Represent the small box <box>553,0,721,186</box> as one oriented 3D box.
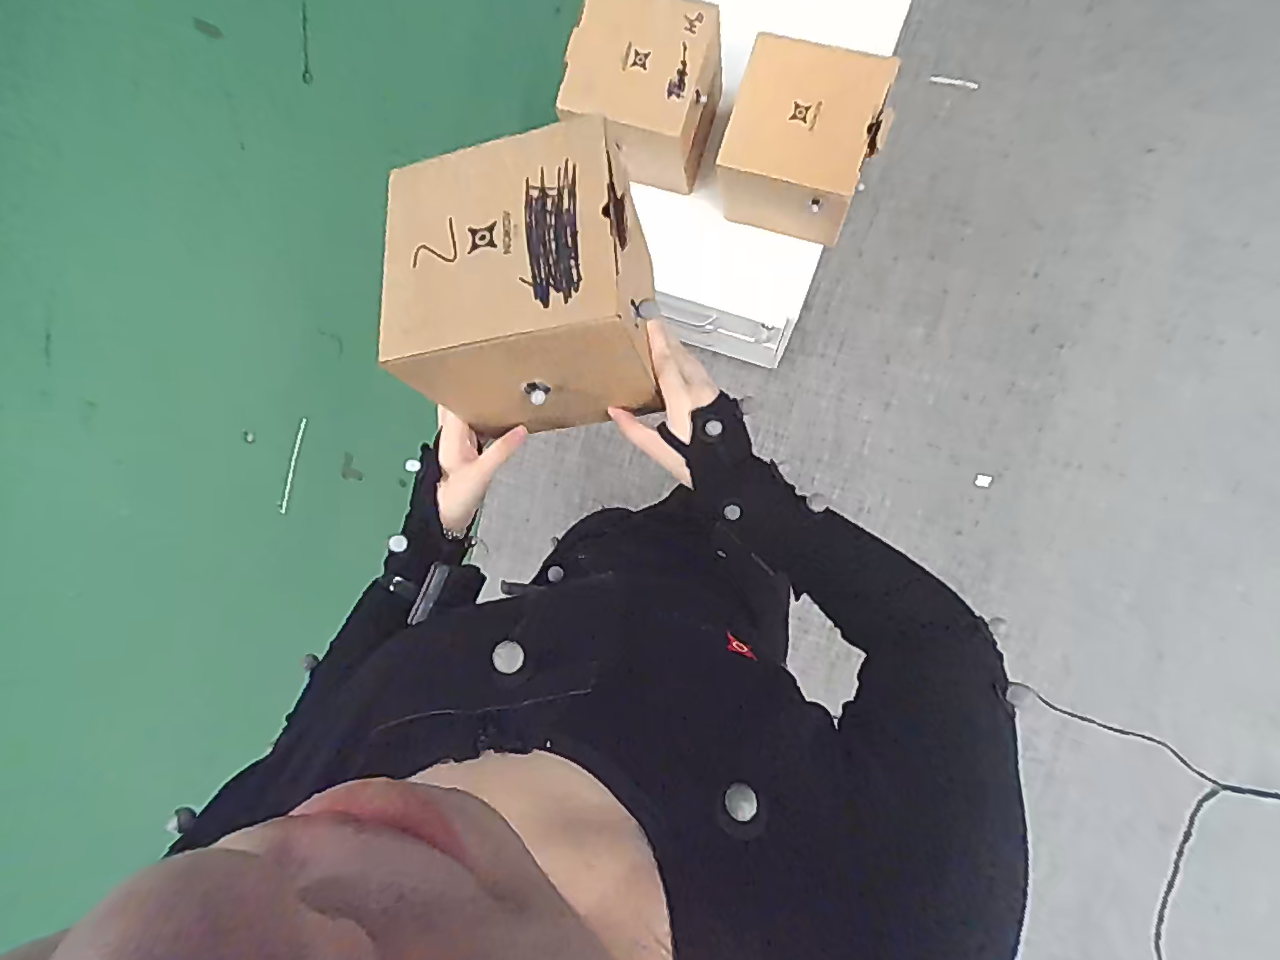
[{"bbox_3d":[0.005,-0.545,0.760,0.179,0.176,0.168,19,98,9],"label":"small box"}]
